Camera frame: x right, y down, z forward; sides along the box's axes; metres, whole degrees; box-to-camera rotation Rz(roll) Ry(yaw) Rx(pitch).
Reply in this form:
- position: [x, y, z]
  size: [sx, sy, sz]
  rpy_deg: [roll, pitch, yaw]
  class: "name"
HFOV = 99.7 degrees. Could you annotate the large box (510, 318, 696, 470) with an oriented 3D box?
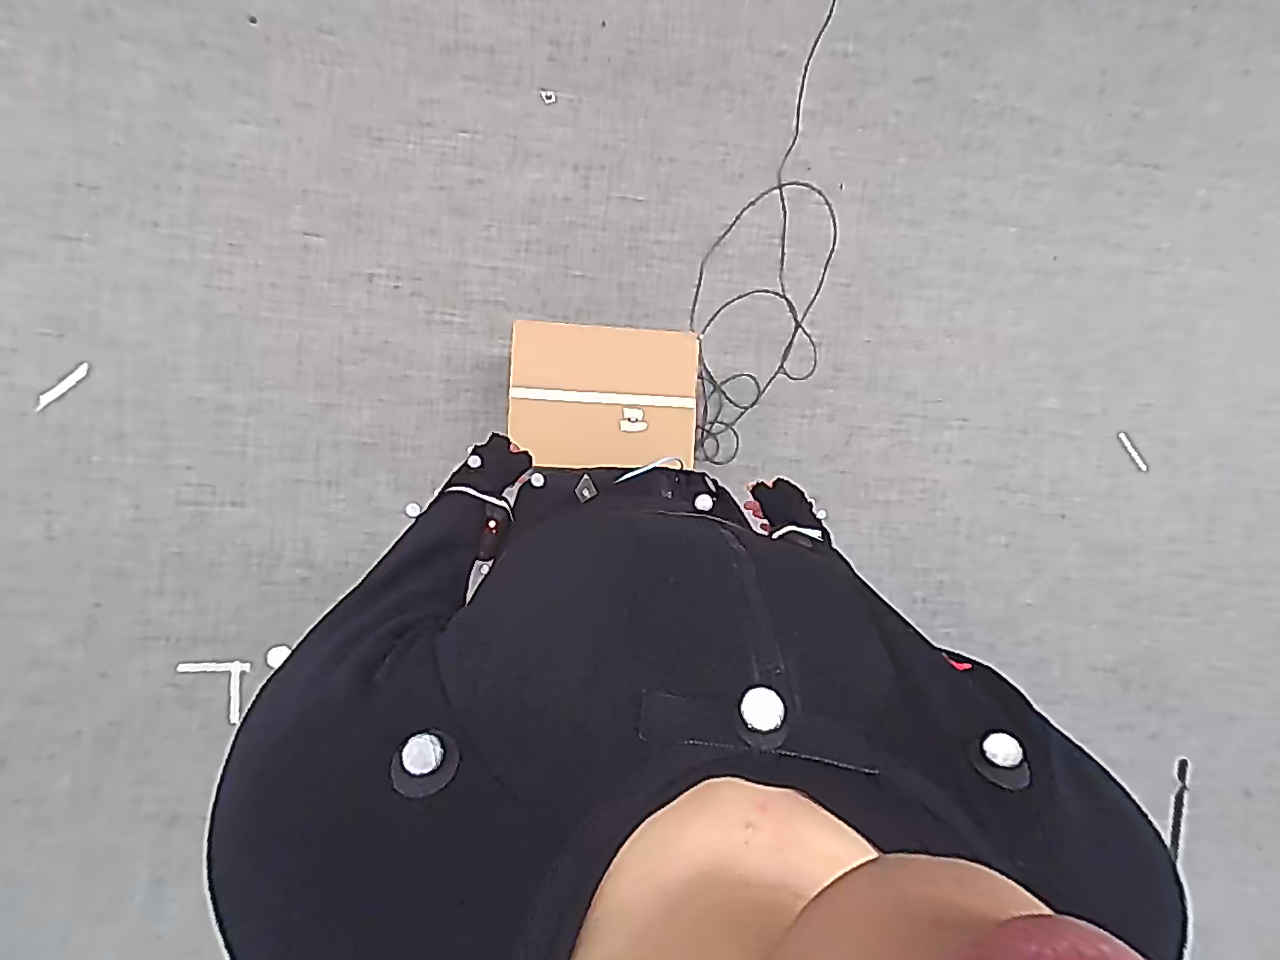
- position: [-0.093, -0.188, 1.329]
  size: [0.408, 0.320, 0.320]
  rpy_deg: [3, 90, -5]
  class: "large box"
